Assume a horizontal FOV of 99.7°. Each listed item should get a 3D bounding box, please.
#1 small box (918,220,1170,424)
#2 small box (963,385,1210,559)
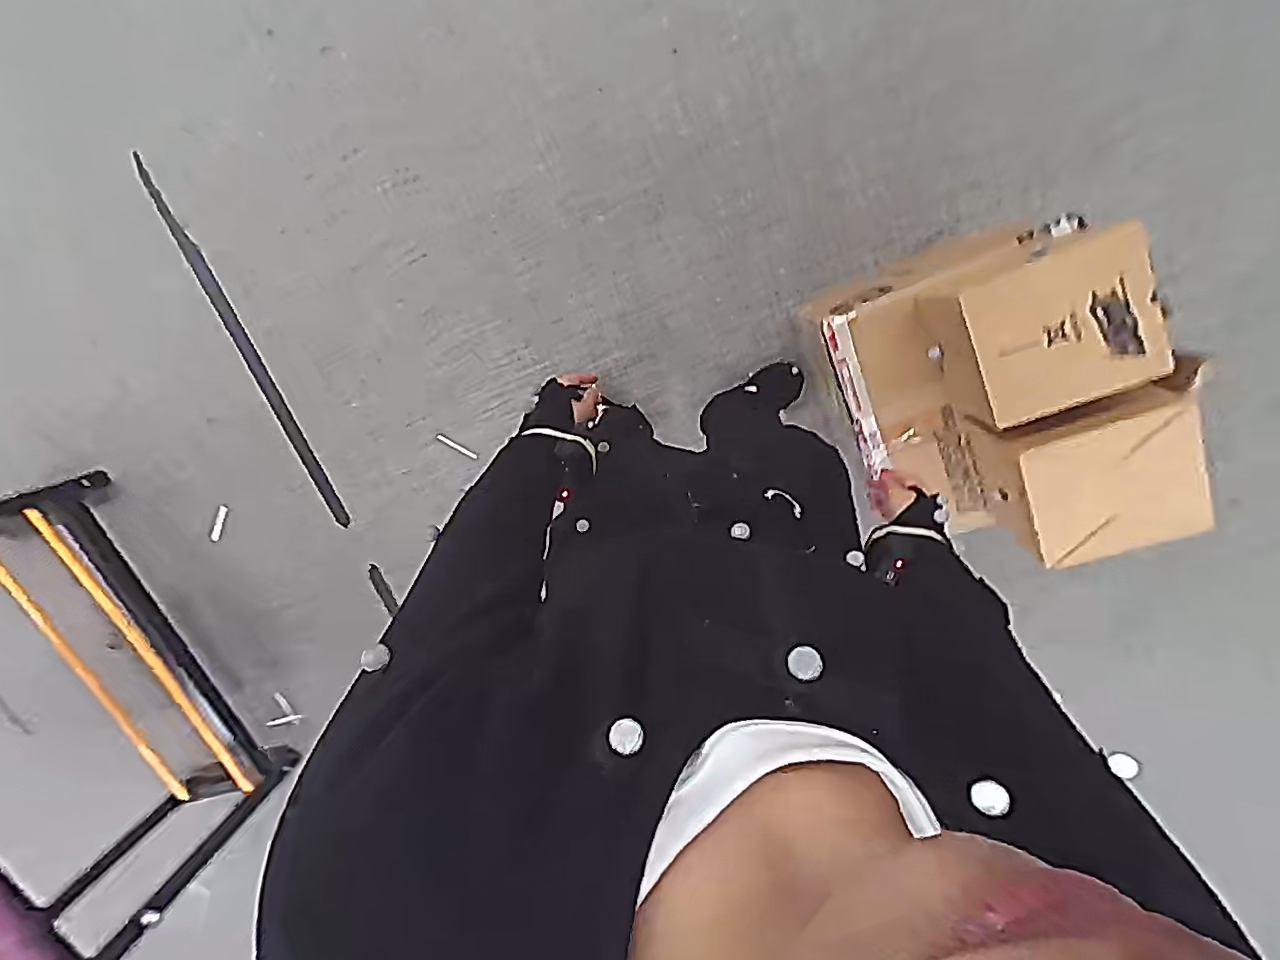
[{"bbox_3d":[0.471,-0.189,0.656,0.179,0.176,0.168,-20,103,17],"label":"small box"},{"bbox_3d":[0.559,-0.019,0.698,0.179,0.176,0.168,-20,108,17],"label":"small box"}]
